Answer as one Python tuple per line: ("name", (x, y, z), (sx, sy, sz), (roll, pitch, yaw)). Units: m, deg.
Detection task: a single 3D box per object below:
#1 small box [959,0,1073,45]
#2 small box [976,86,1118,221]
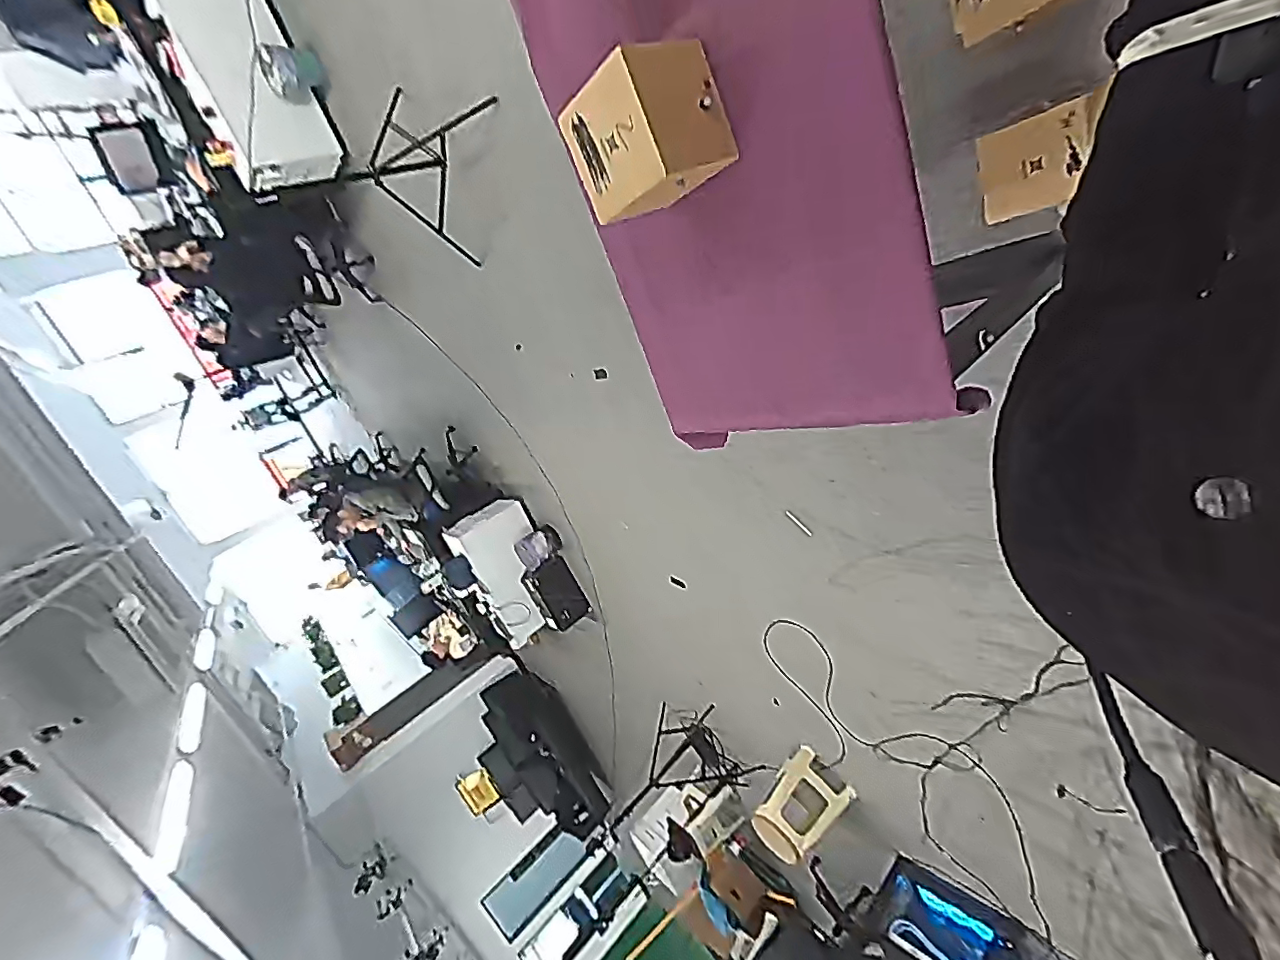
("small box", (0.684, -0.909, 0.950), (0.179, 0.176, 0.168), (1, 120, 53))
("small box", (0.796, -0.632, 1.056), (0.179, 0.176, 0.168), (5, 123, 53))
